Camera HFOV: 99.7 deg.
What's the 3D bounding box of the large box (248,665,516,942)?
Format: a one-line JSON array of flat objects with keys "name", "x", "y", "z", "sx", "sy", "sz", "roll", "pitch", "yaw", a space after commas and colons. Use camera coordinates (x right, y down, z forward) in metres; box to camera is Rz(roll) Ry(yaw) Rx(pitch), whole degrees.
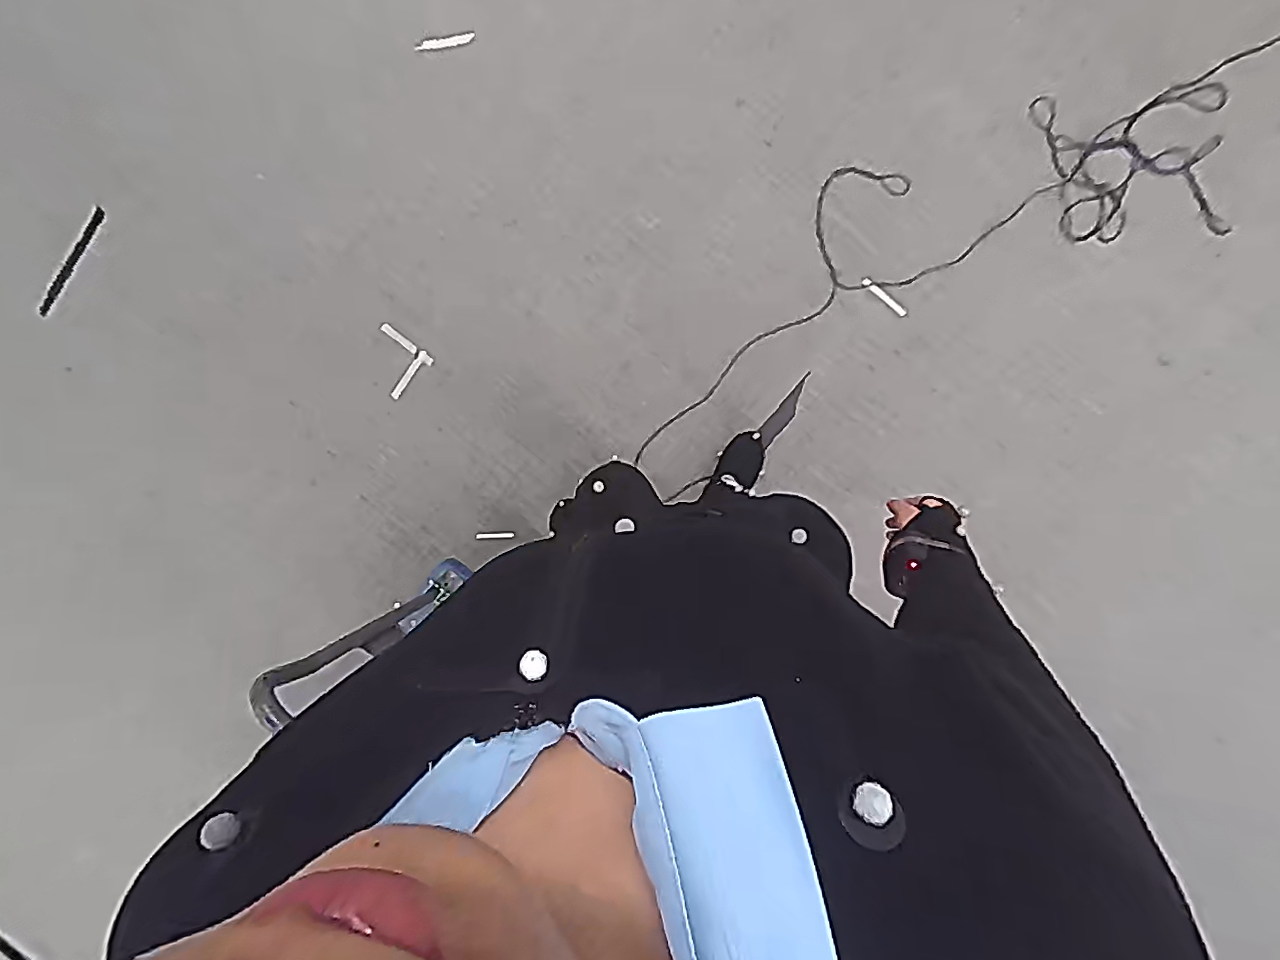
[{"name": "large box", "x": -0.571, "y": 0.722, "z": 1.269, "sx": 0.408, "sy": 0.320, "sz": 0.320, "roll": 40, "pitch": 97, "yaw": 0}]
